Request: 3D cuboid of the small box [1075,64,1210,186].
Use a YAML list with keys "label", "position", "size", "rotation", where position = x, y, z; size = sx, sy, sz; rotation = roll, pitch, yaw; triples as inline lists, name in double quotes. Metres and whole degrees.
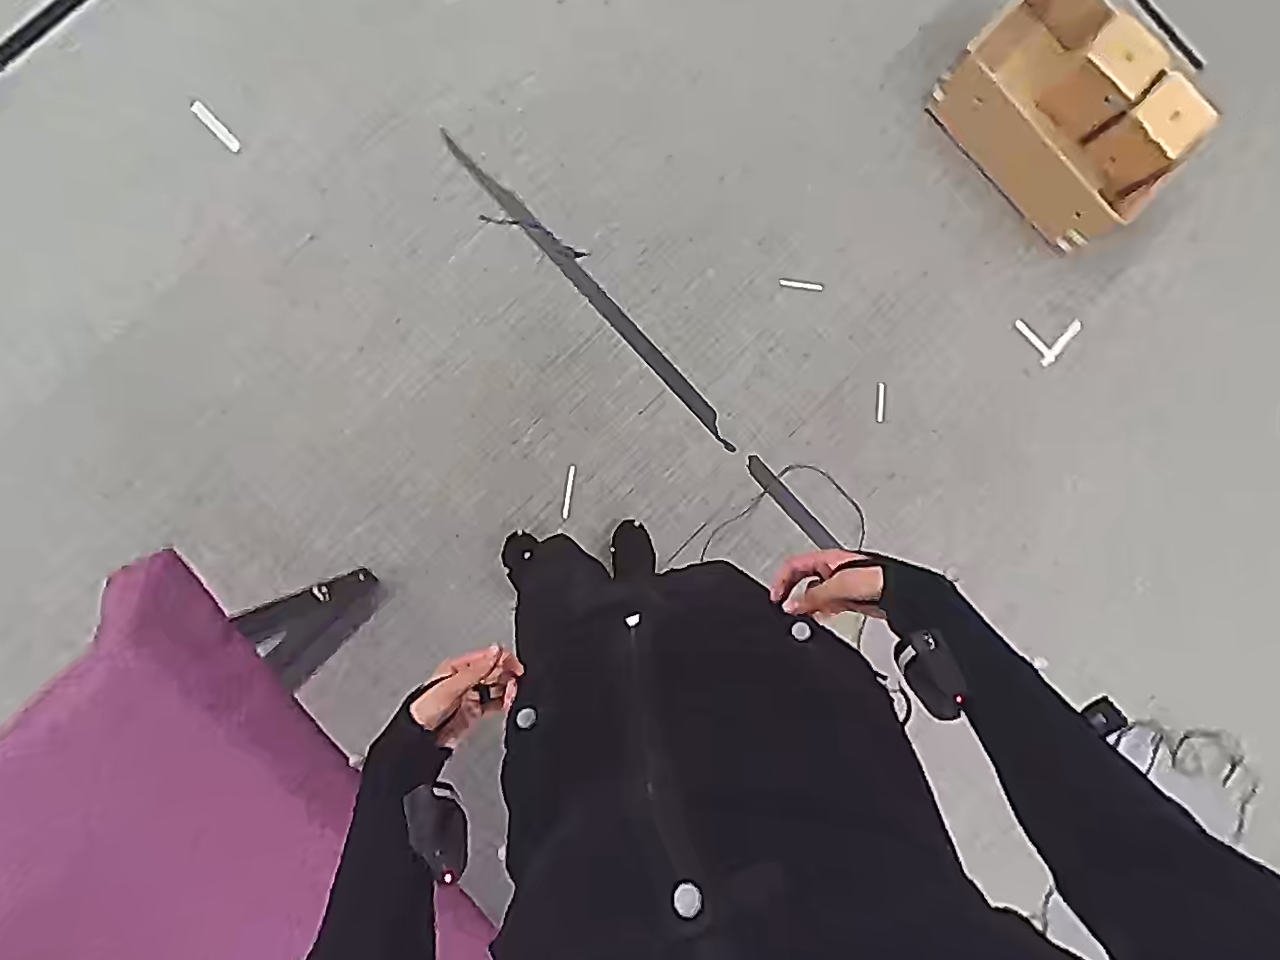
- label: "small box"
  position: [1.347, -0.949, 1.463]
  size: [0.168, 0.176, 0.179]
  rotation: [44, 89, -3]
